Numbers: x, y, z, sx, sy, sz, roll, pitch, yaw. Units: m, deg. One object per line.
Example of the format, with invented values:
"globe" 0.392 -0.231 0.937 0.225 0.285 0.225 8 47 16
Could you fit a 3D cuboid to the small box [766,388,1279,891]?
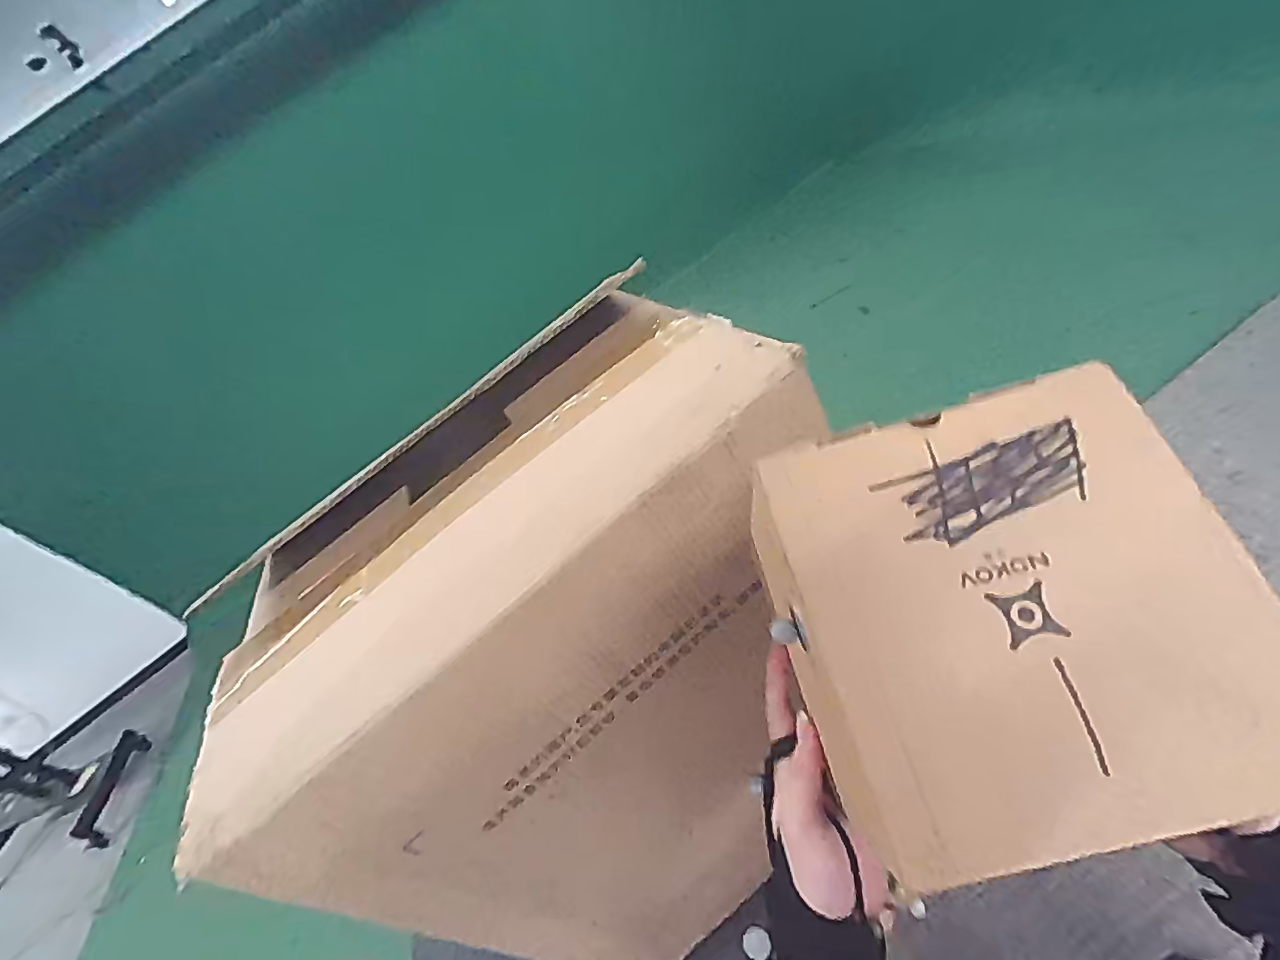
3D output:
"small box" 0.173 0.083 0.297 0.168 0.176 0.179 -16 66 5
